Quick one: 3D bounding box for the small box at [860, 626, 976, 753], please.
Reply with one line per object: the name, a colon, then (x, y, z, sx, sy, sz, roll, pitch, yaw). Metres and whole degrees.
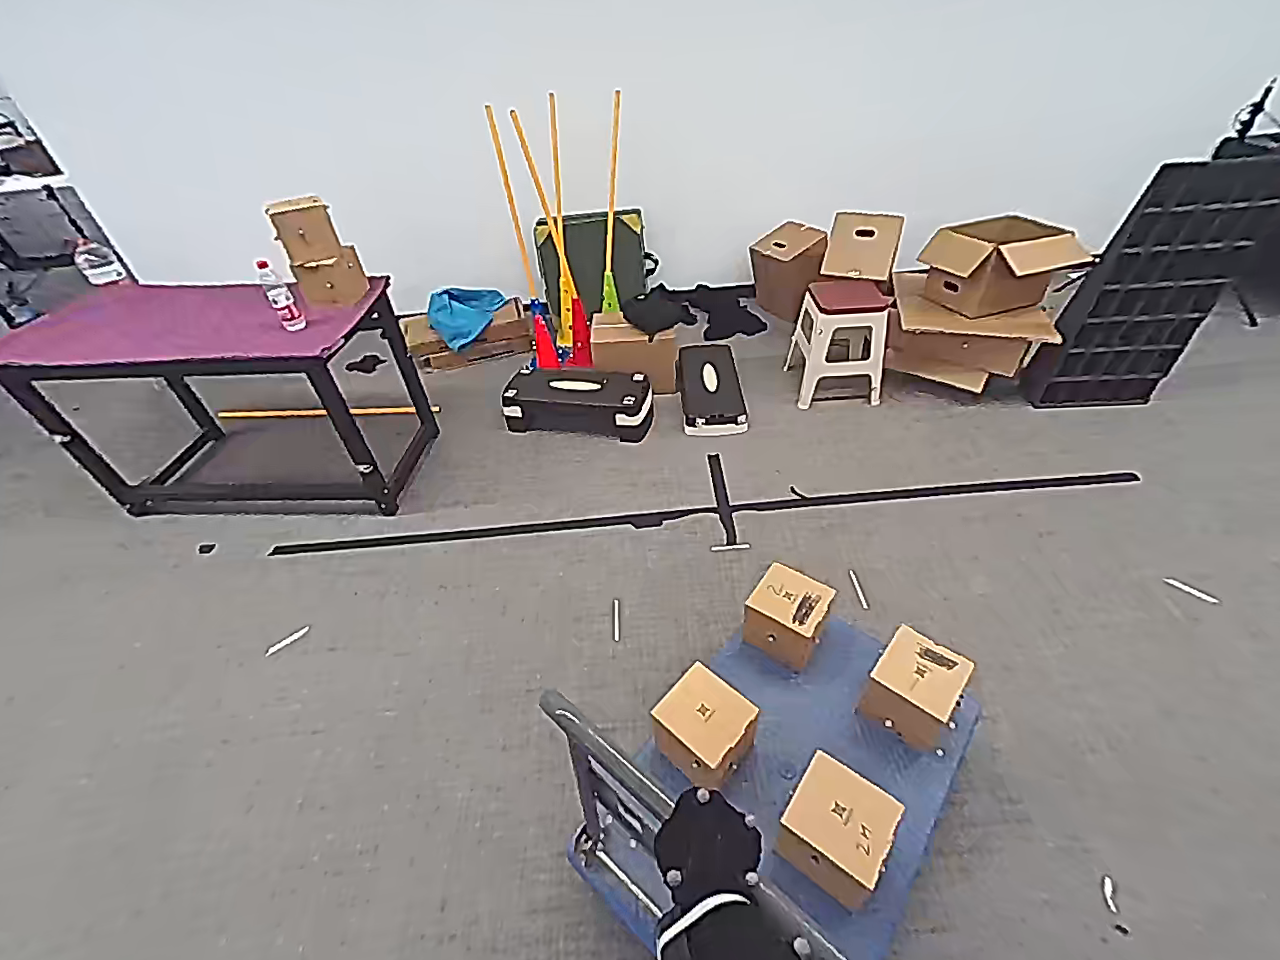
small box: (0.633, 0.483, 1.249, 0.168, 0.176, 0.179, 30, 53, 32)

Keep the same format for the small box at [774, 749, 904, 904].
small box: (0.379, 0.678, 1.056, 0.179, 0.176, 0.168, 27, 51, 30)

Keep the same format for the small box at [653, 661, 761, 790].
small box: (0.145, 0.553, 1.215, 0.179, 0.176, 0.168, 32, 53, 31)
